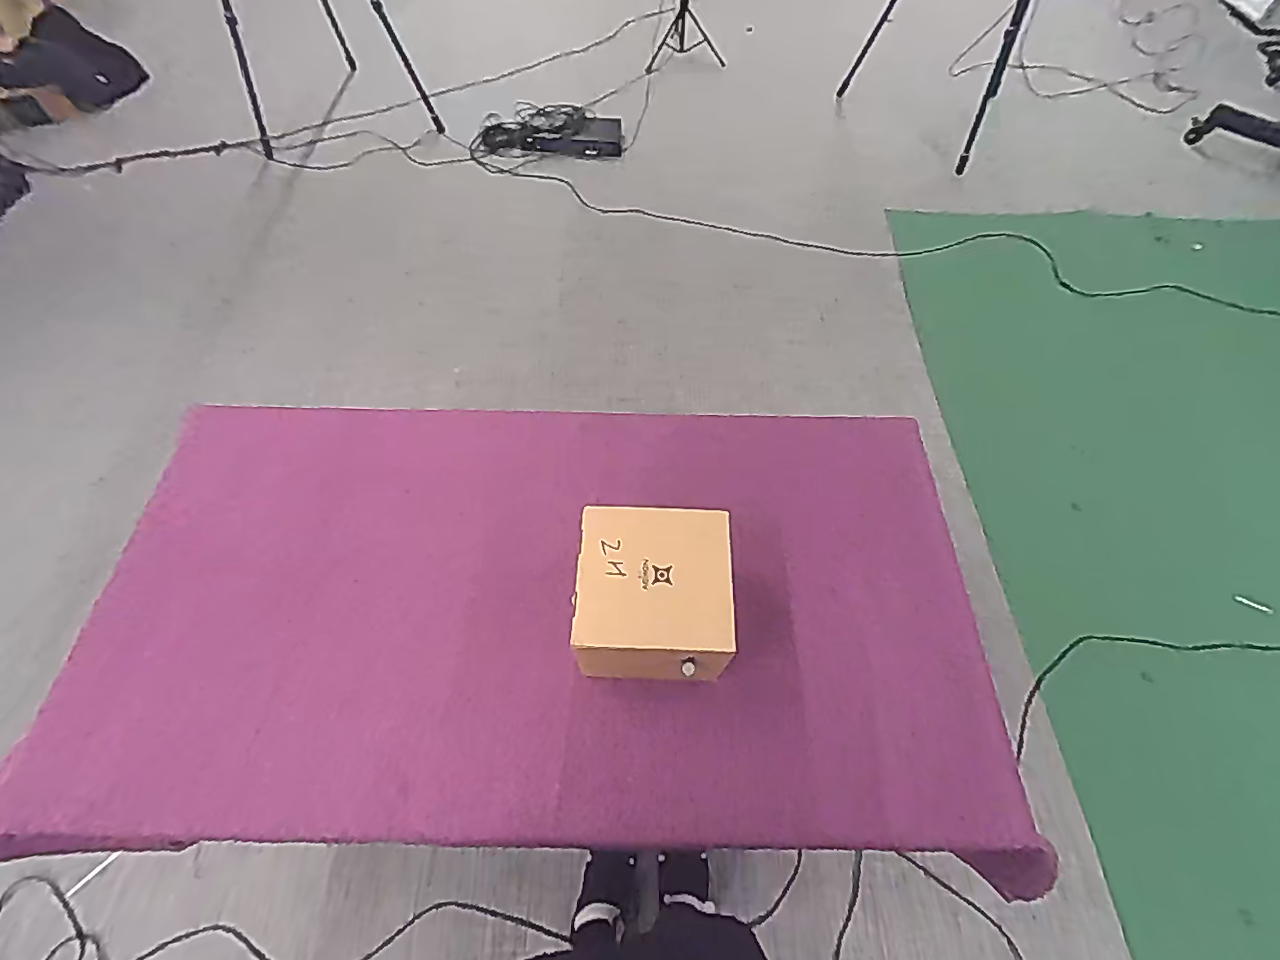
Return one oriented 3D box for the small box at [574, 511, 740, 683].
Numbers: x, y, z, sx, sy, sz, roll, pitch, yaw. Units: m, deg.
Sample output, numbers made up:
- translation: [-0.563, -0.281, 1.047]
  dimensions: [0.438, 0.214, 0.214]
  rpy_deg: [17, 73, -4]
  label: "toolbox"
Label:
- translation: [0.020, 0.151, 0.671]
  dimensions: [0.179, 0.176, 0.168]
  rpy_deg: [2, 60, 1]
  label: "small box"
